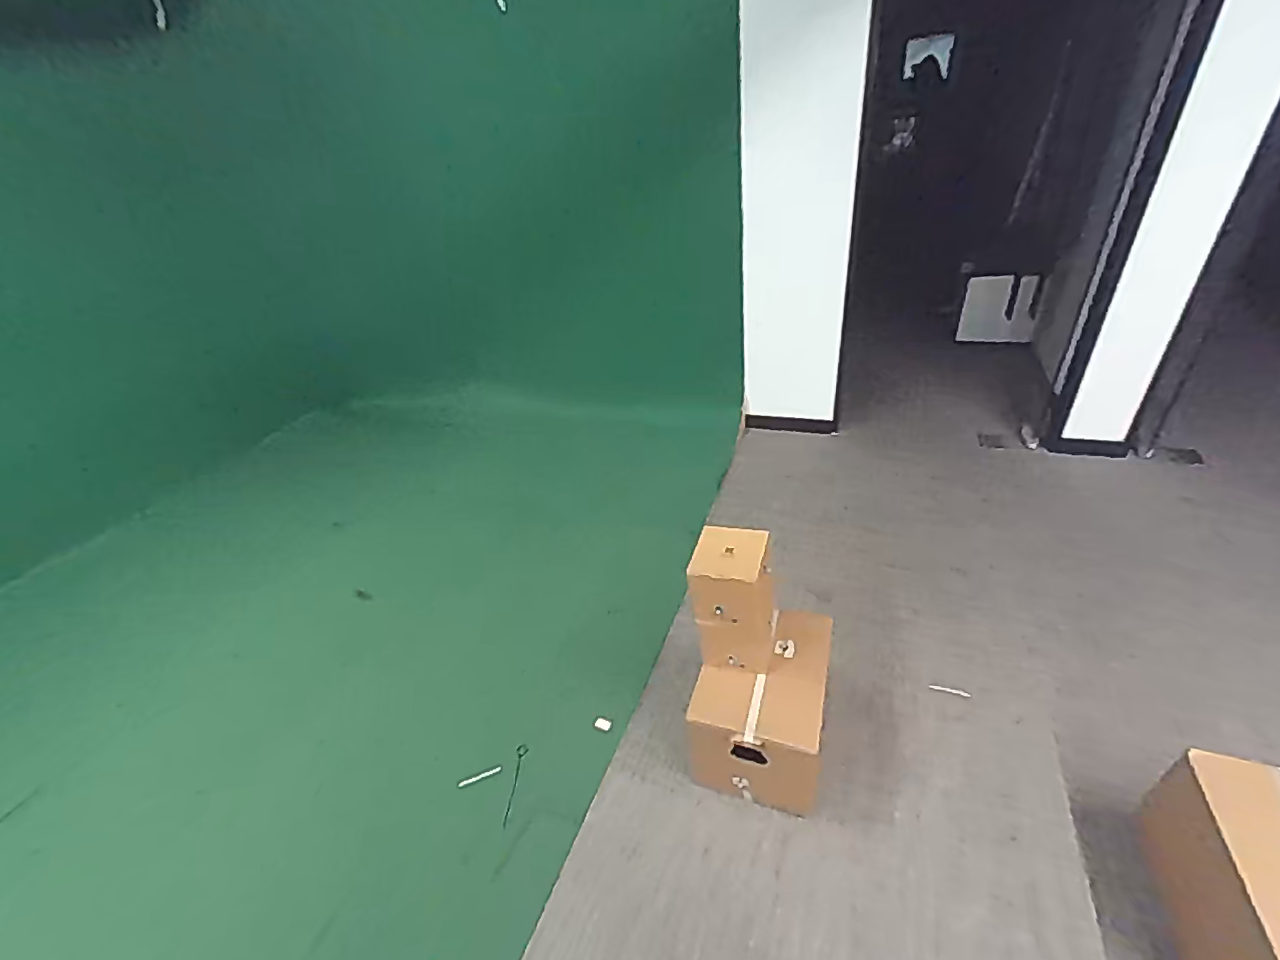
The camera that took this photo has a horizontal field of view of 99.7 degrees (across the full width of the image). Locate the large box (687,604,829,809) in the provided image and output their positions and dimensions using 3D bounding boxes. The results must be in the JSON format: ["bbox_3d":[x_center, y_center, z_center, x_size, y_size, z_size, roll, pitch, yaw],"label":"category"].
[{"bbox_3d":[0.341,0.600,1.494,0.320,0.320,0.408,6,37,21],"label":"large box"}]

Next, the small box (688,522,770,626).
[{"bbox_3d":[0.226,0.229,1.334,0.168,0.176,0.179,3,38,22],"label":"small box"}]
